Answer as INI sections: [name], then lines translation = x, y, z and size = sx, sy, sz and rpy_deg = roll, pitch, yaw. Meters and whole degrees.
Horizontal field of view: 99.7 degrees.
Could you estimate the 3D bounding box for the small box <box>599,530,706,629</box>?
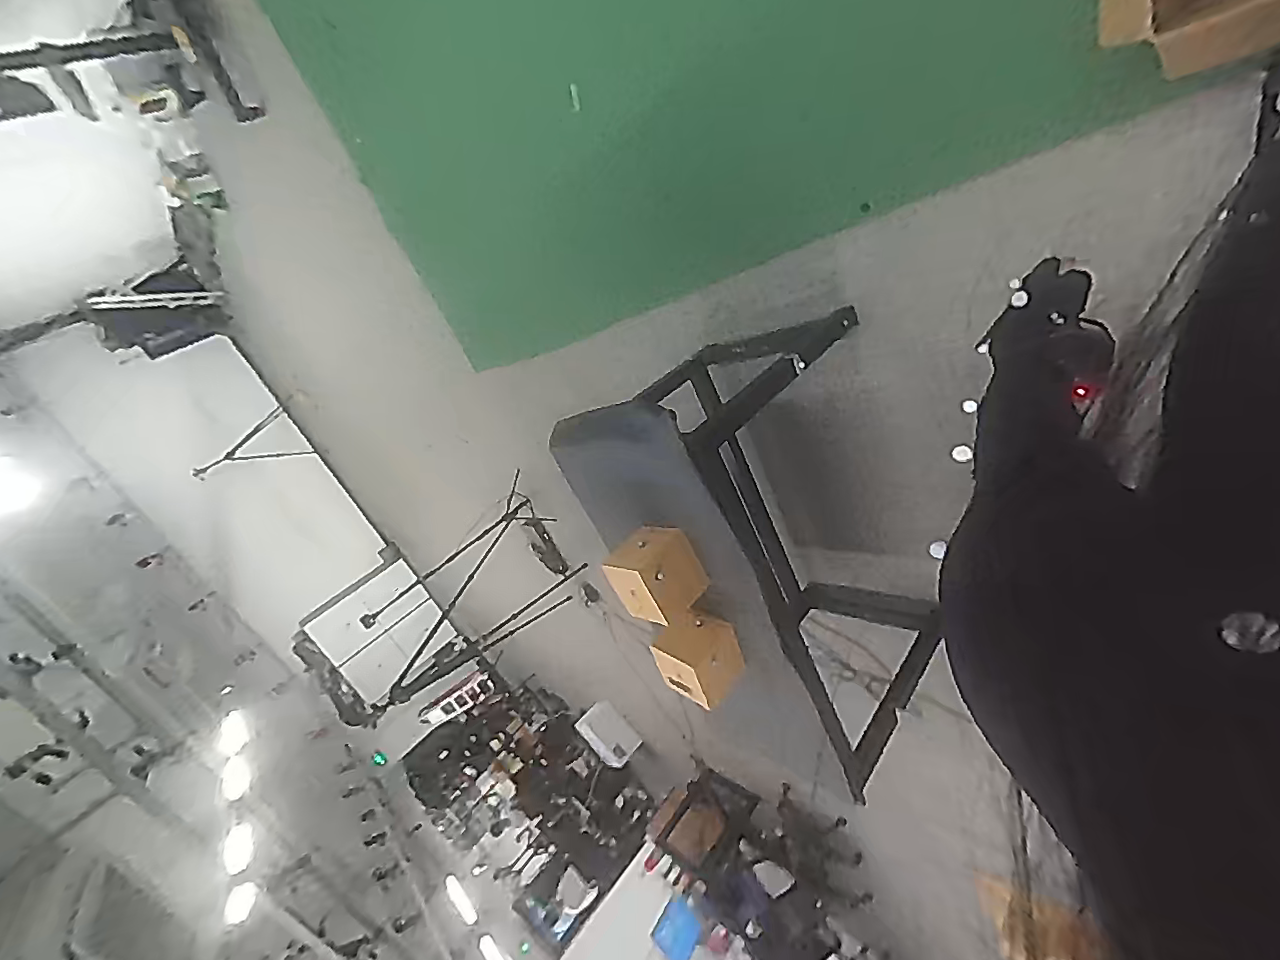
[small box]
translation = 0.035, 0.243, 1.366
size = 0.168, 0.176, 0.179
rpy_deg = -2, 121, 53
